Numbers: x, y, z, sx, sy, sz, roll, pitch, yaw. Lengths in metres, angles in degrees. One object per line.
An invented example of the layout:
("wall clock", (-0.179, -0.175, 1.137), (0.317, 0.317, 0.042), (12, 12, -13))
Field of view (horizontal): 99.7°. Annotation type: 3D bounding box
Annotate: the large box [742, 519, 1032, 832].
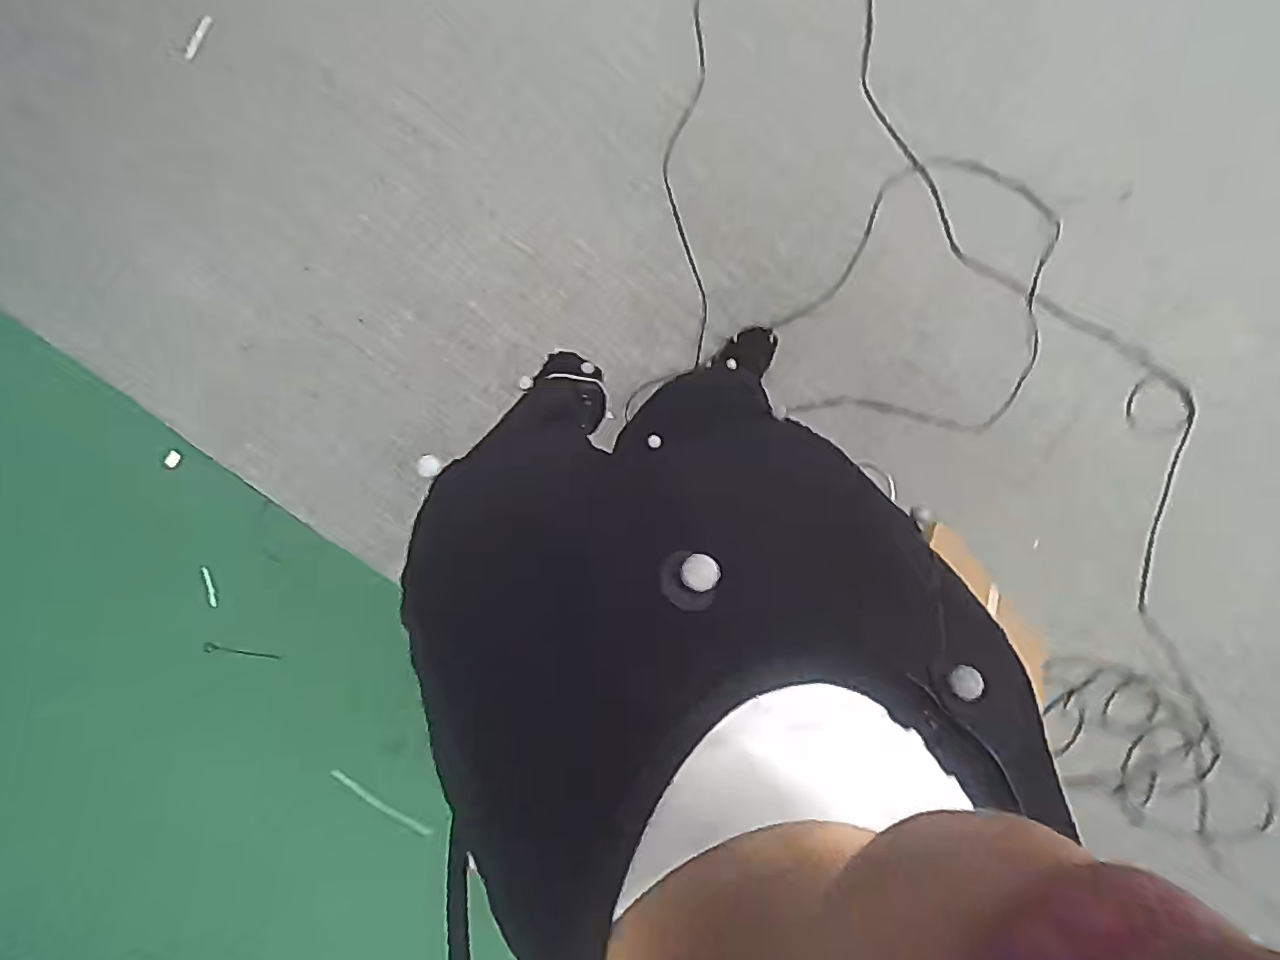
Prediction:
("large box", (0.452, 0.343, 0.978), (0.320, 0.408, 0.320), (53, 133, 1))
